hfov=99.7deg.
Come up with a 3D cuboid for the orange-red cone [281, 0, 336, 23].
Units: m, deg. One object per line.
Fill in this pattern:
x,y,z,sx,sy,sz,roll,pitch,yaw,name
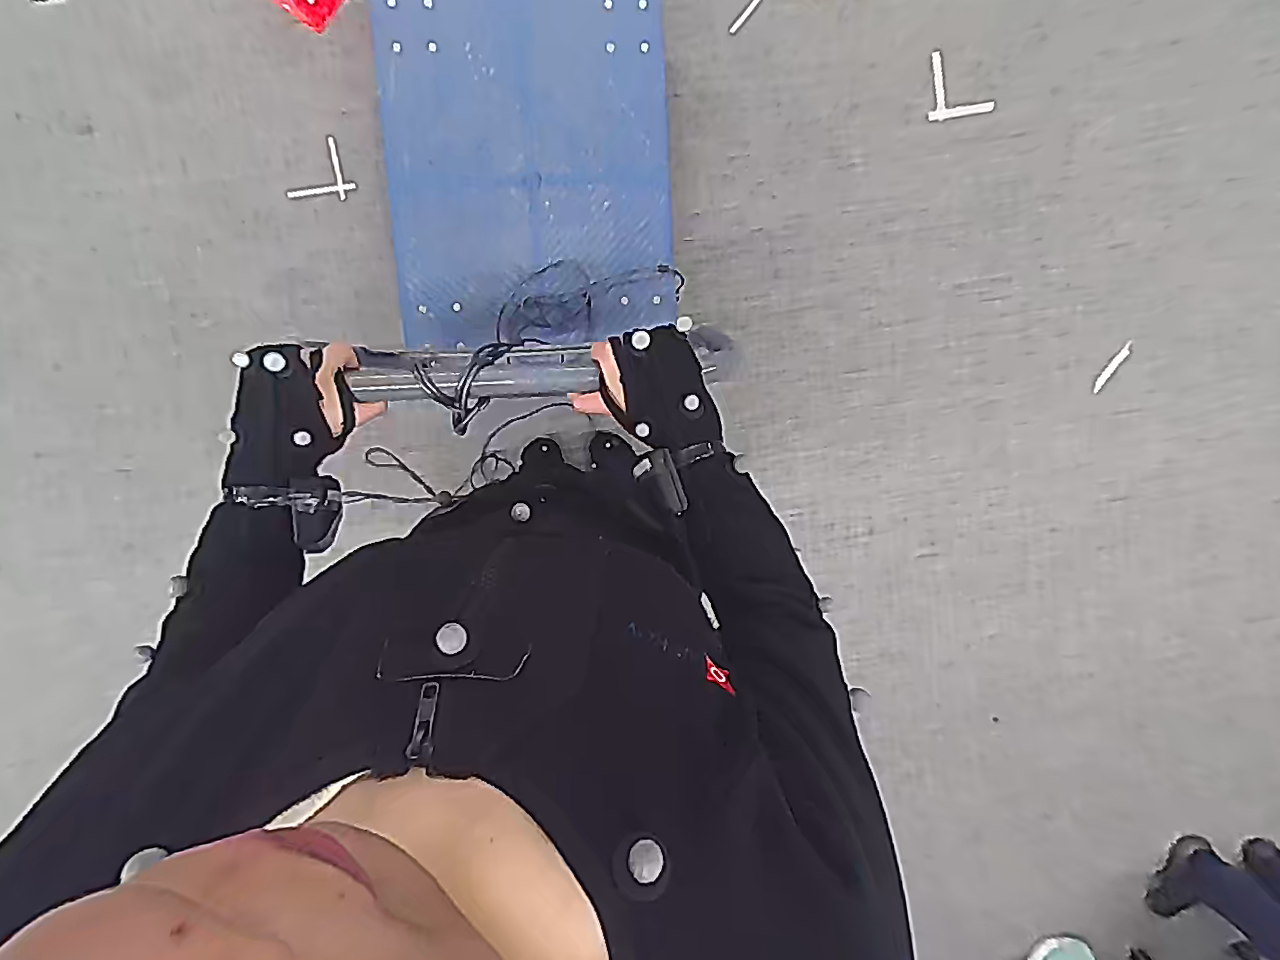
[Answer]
-0.709,-1.103,0.997,0.198,0.360,0.199,37,91,-9,orange-red cone
